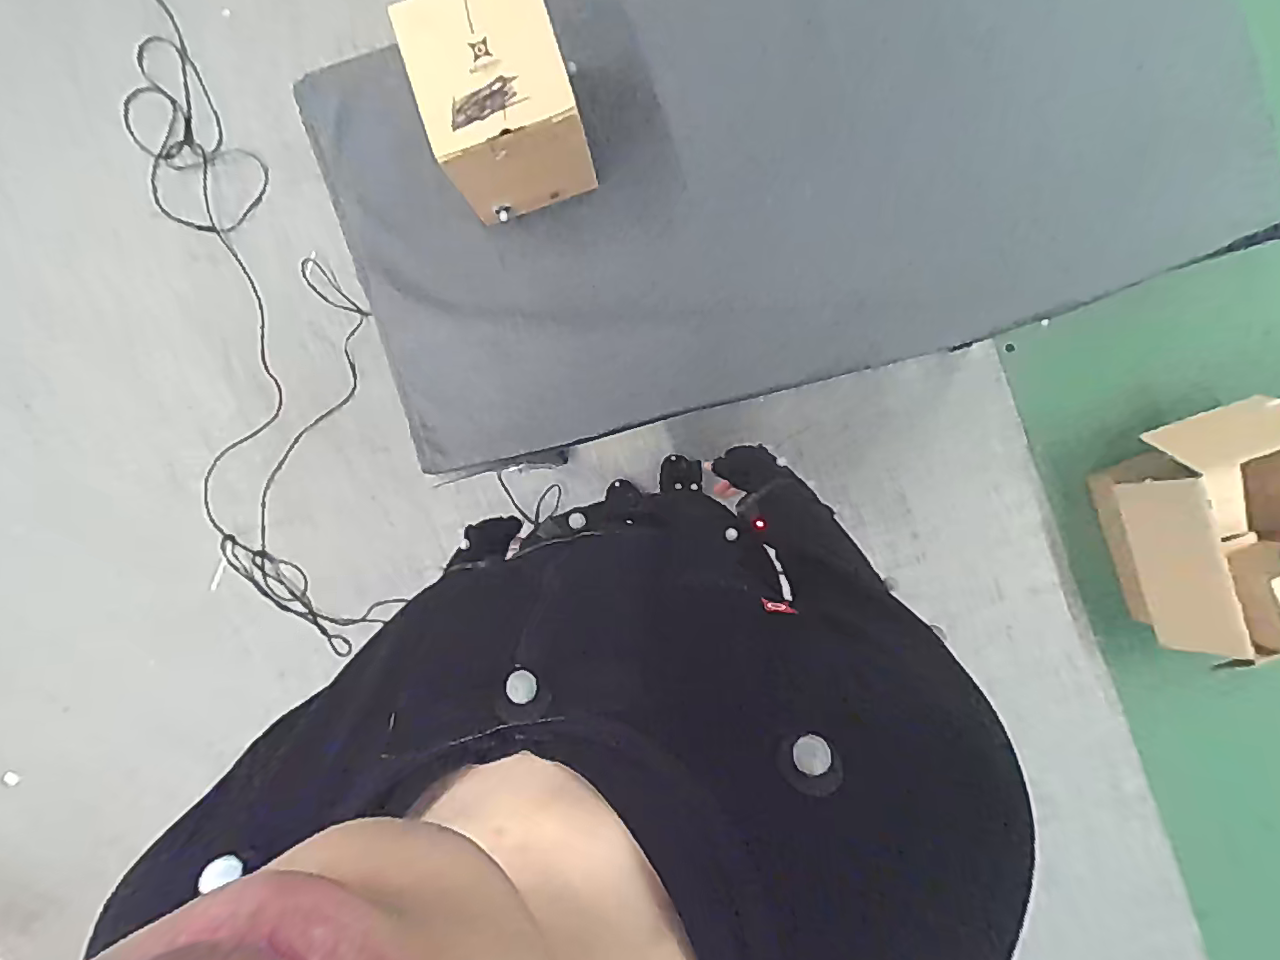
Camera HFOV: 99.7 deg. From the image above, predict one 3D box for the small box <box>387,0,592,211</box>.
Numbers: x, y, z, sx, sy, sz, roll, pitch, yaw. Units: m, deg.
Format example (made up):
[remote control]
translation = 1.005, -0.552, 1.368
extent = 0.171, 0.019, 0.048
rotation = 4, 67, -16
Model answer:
[small box]
translation = -0.166, -0.457, 0.658
extent = 0.168, 0.176, 0.179
rotation = -18, 91, 3
